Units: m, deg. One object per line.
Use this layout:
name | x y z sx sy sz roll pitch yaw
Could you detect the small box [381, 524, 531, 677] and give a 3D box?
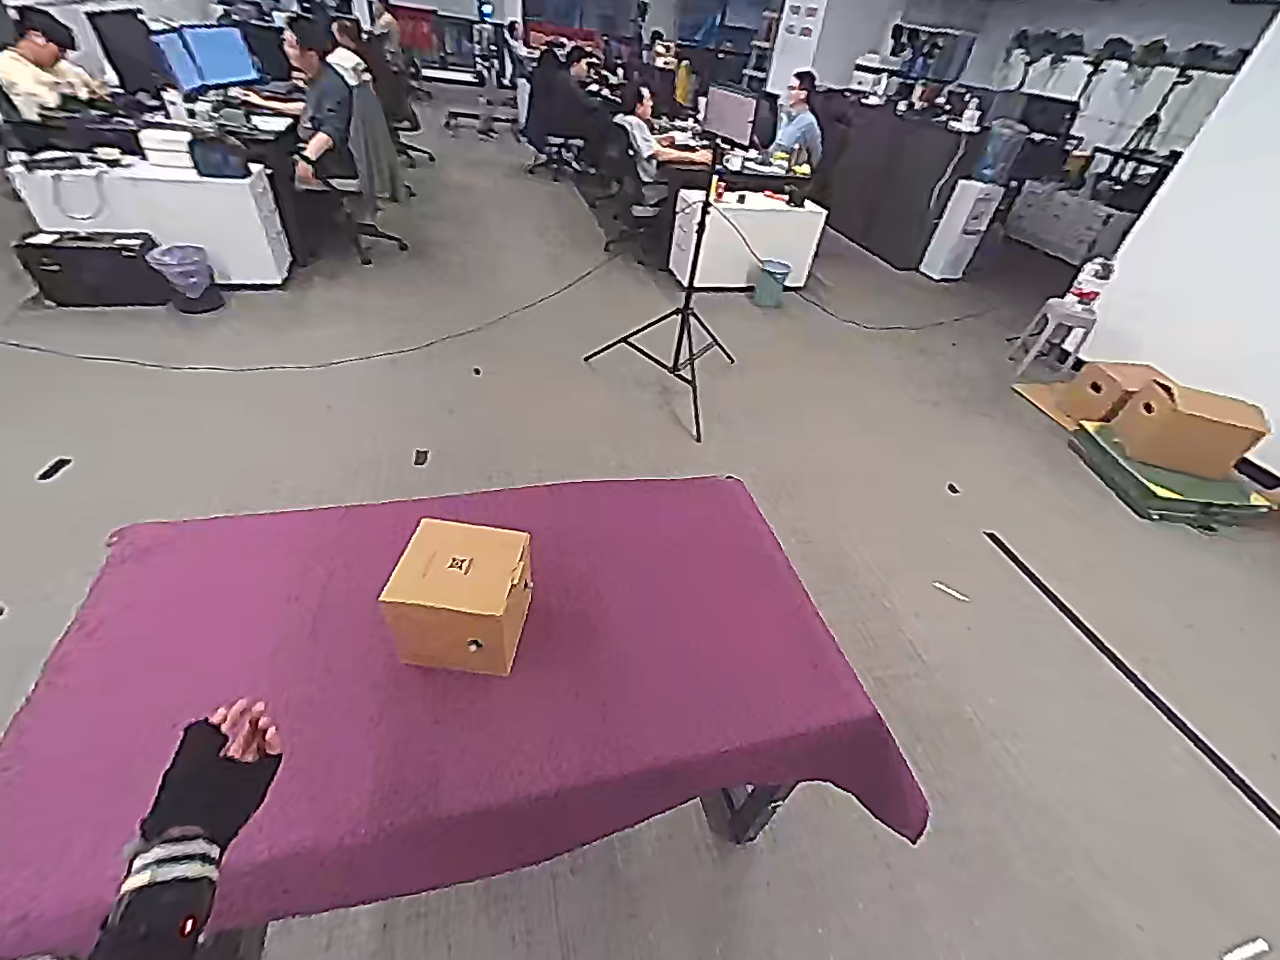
small box | -0.277 0.194 0.863 0.179 0.176 0.168 6 39 0
